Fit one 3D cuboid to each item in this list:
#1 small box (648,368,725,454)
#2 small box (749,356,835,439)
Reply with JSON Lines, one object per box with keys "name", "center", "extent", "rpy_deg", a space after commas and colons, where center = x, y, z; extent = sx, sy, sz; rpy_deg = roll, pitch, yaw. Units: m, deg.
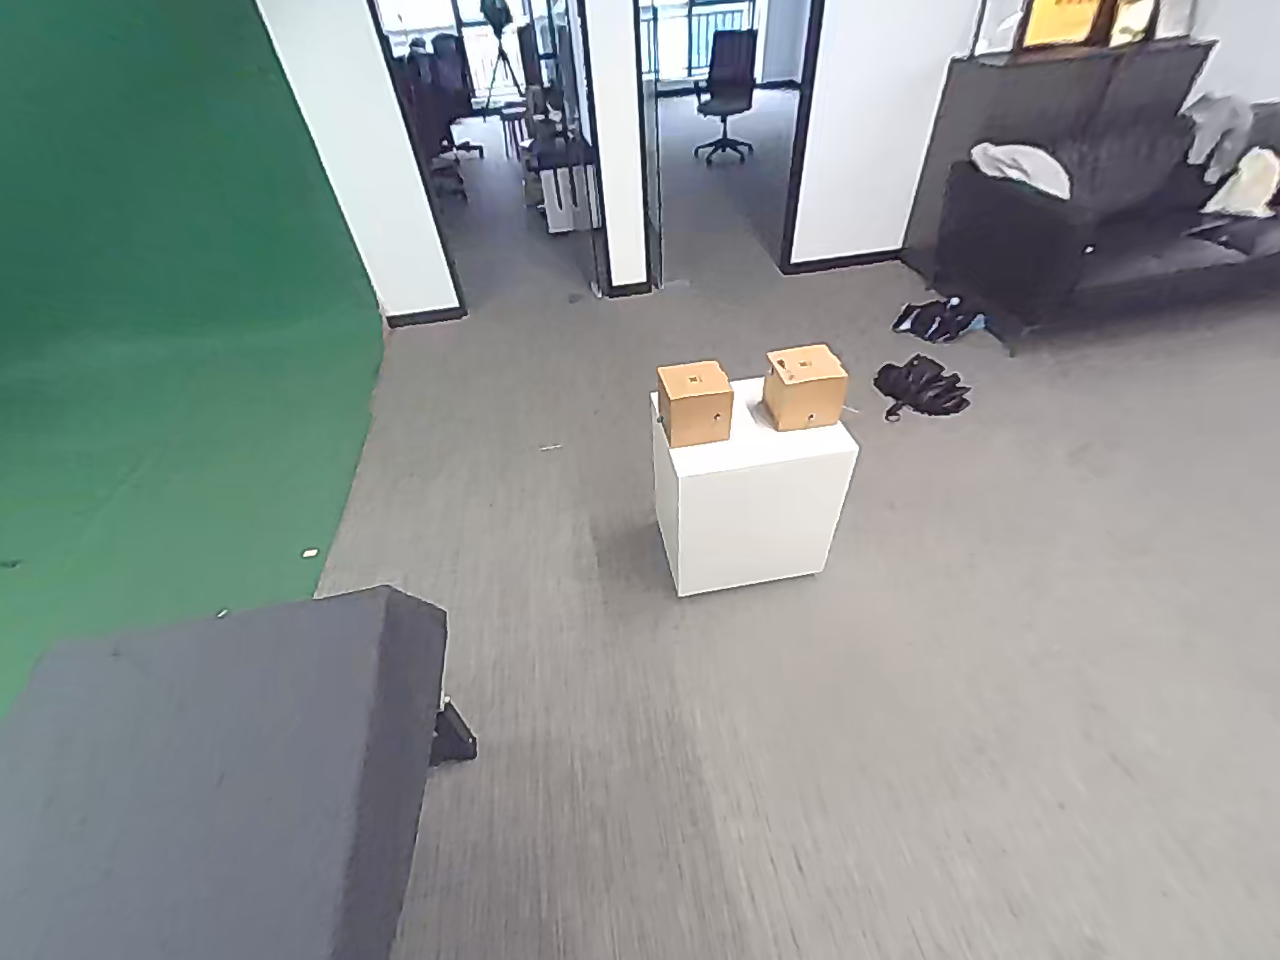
{"name": "small box", "center": [0.122, -0.192, 1.514], "extent": [0.179, 0.176, 0.168], "rpy_deg": [-9, 42, -9]}
{"name": "small box", "center": [0.429, -0.236, 1.555], "extent": [0.179, 0.176, 0.168], "rpy_deg": [-7, 43, -7]}
